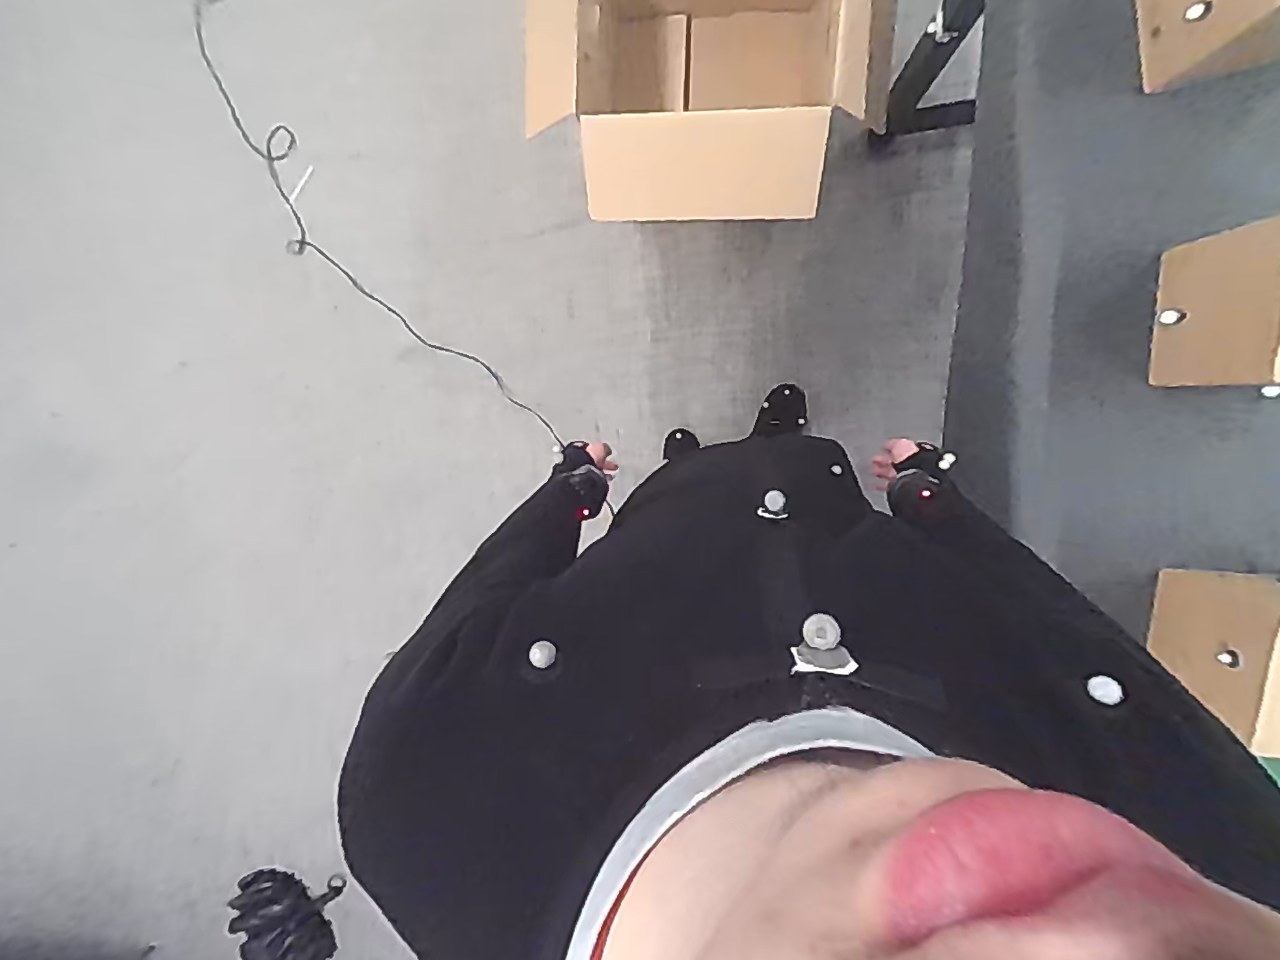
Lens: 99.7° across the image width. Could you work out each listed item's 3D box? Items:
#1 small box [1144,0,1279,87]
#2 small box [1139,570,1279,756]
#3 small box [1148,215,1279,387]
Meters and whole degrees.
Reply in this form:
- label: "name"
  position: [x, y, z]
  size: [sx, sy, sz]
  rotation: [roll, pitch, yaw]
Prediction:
- label: "small box"
  position: [0.687, -0.562, 0.574]
  size: [0.179, 0.176, 0.168]
  rotation: [-12, 99, 7]
- label: "small box"
  position: [0.793, 0.224, 0.686]
  size: [0.168, 0.176, 0.179]
  rotation: [3, 100, 7]
- label: "small box"
  position: [0.747, -0.201, 0.625]
  size: [0.168, 0.176, 0.179]
  rotation: [-1, 100, 7]
